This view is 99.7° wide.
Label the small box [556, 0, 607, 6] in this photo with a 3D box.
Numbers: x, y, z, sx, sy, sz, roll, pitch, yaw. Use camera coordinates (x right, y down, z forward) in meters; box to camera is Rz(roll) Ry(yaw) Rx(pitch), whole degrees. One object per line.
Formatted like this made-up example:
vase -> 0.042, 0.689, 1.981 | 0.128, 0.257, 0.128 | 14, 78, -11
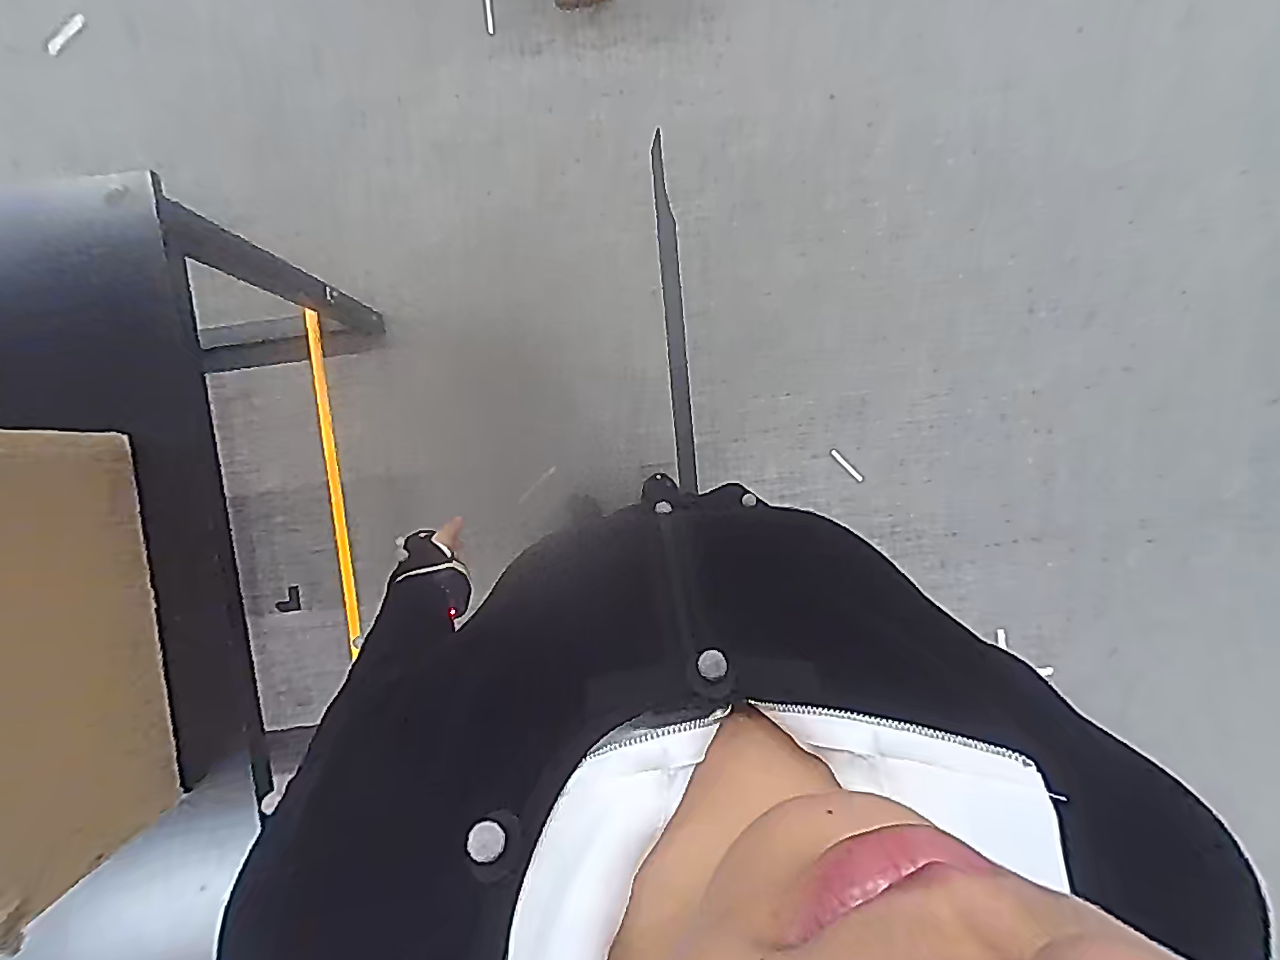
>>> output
small box -> -0.154, -1.334, 1.332 | 0.168, 0.176, 0.179 | -9, 95, 0
